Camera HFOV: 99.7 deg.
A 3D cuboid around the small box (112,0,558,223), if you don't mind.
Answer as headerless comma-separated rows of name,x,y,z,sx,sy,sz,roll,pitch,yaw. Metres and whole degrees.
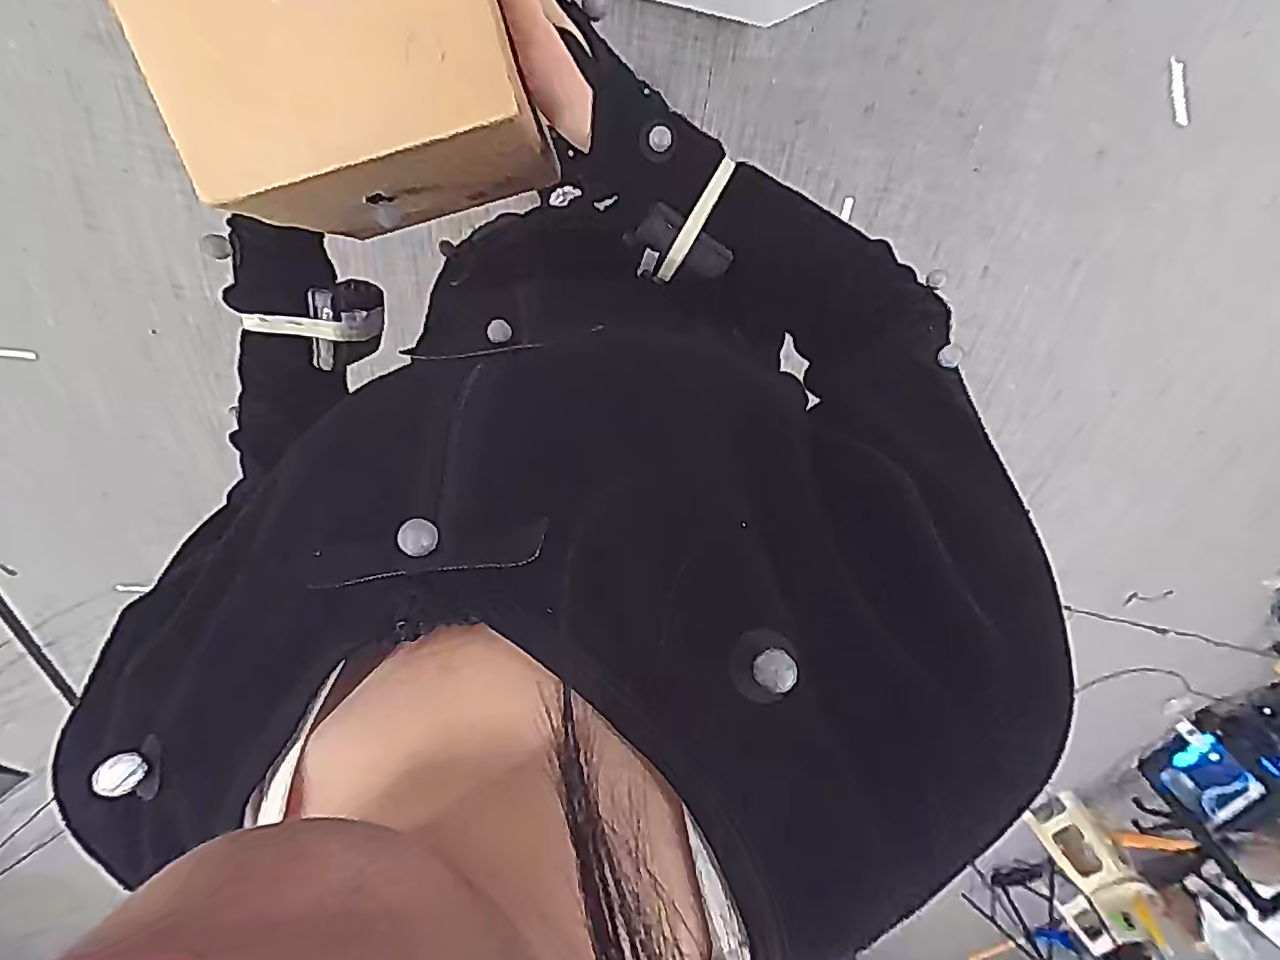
small box,-0.154,-0.259,0.306,0.168,0.176,0.179,-14,108,4
